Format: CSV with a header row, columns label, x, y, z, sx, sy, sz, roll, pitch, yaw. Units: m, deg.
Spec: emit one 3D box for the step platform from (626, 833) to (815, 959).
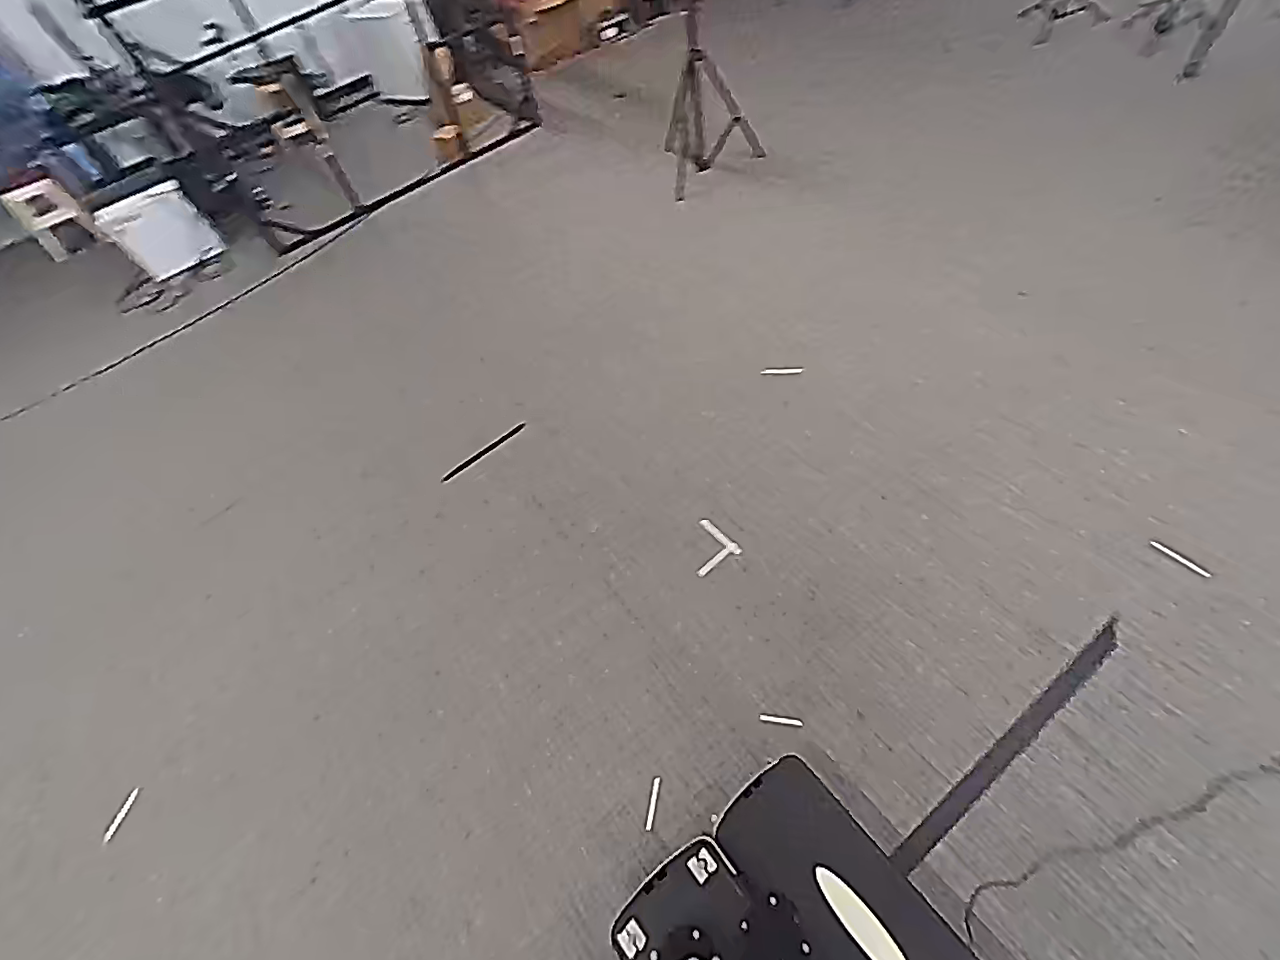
label,x,y,z,sx,sy,sz,roll,pitch,yaw
step platform,0.271,1.084,1.055,0.286,0.204,0.684,-37,55,-16
